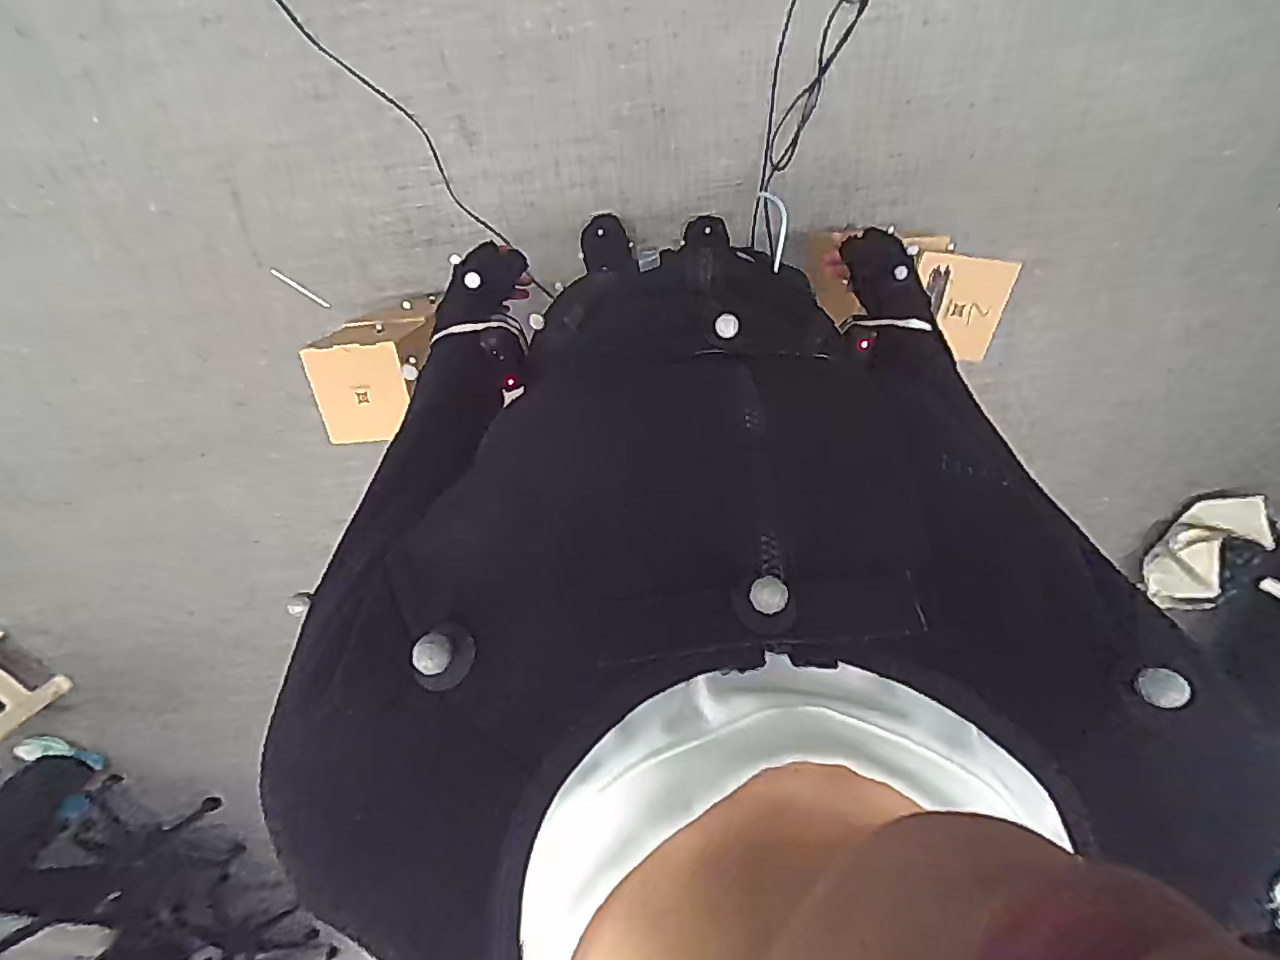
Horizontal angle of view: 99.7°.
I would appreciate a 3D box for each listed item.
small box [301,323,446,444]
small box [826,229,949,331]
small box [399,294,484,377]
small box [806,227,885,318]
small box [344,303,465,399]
[{"bbox_3d":[-0.482,-0.184,1.011,0.168,0.176,0.179,-4,117,1],"label":"small box"},{"bbox_3d":[0.495,-0.416,1.112,0.168,0.176,0.179,-4,119,-1],"label":"small box"},{"bbox_3d":[-0.483,-0.344,1.296,0.179,0.176,0.168,-5,117,1],"label":"small box"},{"bbox_3d":[0.493,-0.481,1.245,0.168,0.176,0.179,-2,118,-1],"label":"small box"},{"bbox_3d":[-0.486,-0.268,1.150,0.168,0.176,0.179,-4,117,1],"label":"small box"}]
